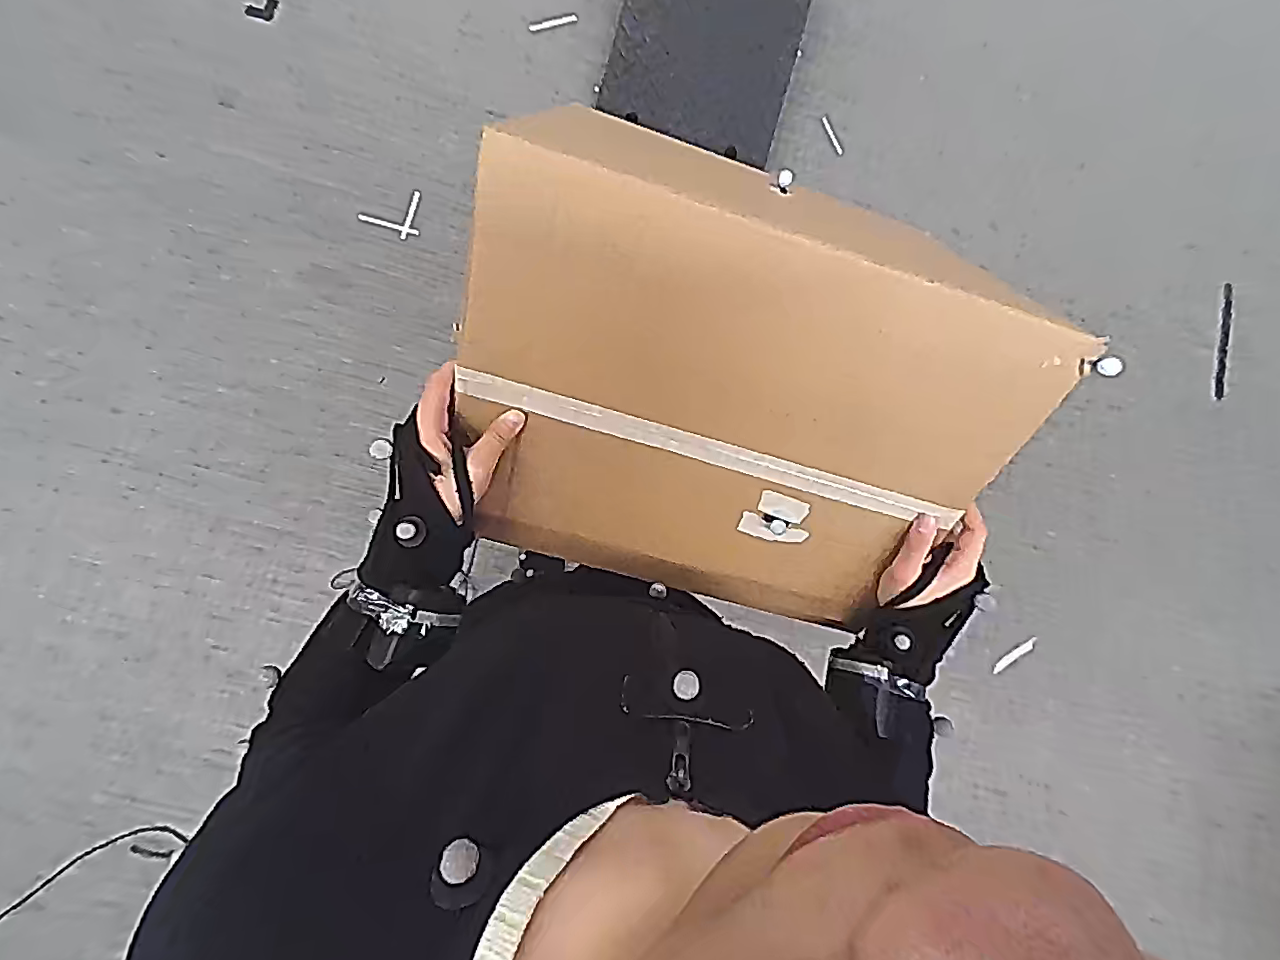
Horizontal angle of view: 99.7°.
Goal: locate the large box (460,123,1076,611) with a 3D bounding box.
[{"bbox_3d":[0.069,-0.119,0.544,0.408,0.320,0.320,14,128,-8],"label":"large box"}]
